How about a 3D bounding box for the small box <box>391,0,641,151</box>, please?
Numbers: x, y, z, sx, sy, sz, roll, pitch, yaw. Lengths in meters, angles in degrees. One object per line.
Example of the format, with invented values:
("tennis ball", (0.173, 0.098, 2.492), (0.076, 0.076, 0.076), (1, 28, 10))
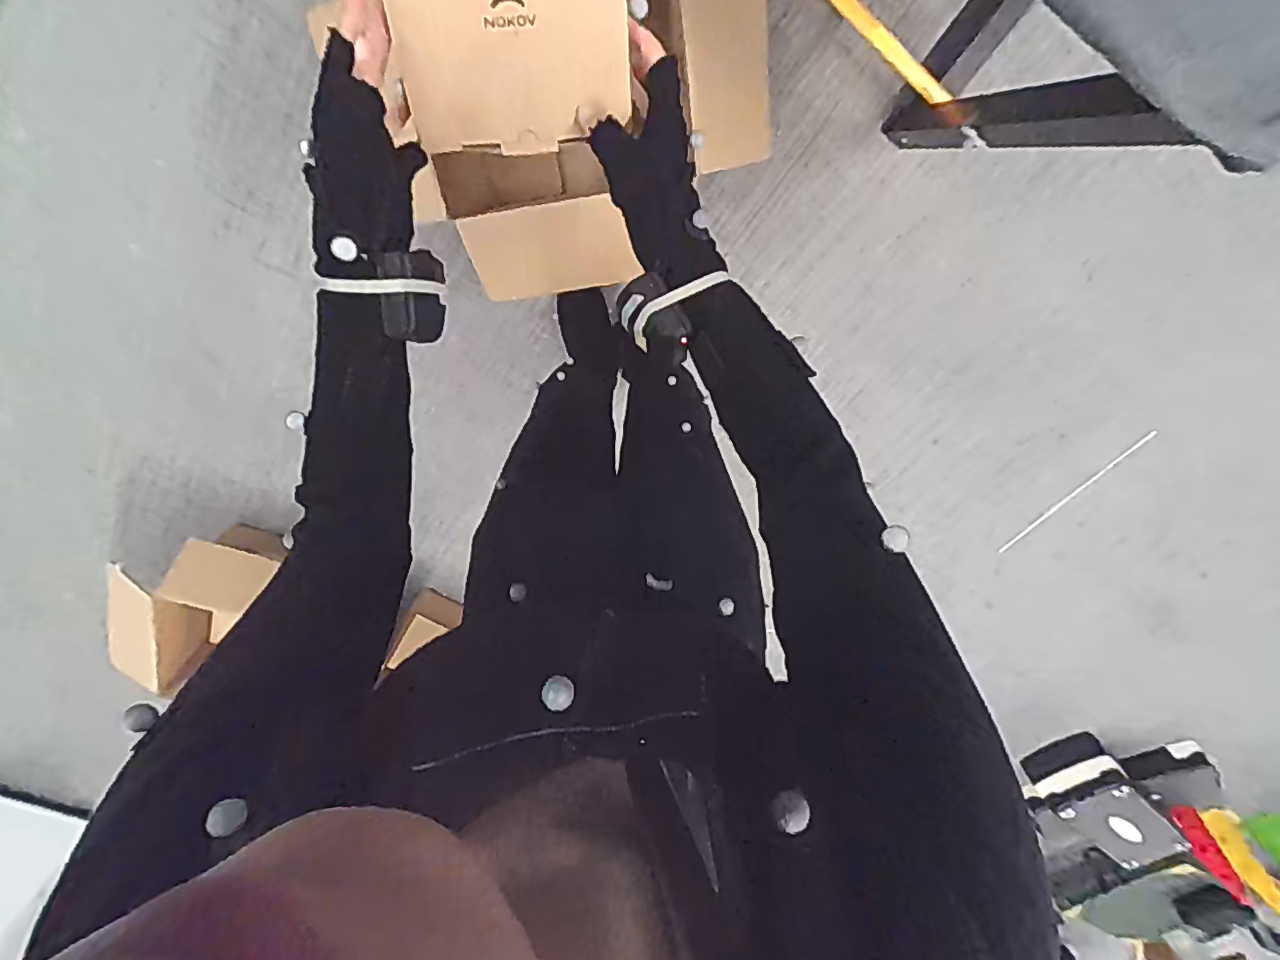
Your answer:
("small box", (-0.093, -0.376, 0.420), (0.168, 0.176, 0.179), (-6, 132, -2))
